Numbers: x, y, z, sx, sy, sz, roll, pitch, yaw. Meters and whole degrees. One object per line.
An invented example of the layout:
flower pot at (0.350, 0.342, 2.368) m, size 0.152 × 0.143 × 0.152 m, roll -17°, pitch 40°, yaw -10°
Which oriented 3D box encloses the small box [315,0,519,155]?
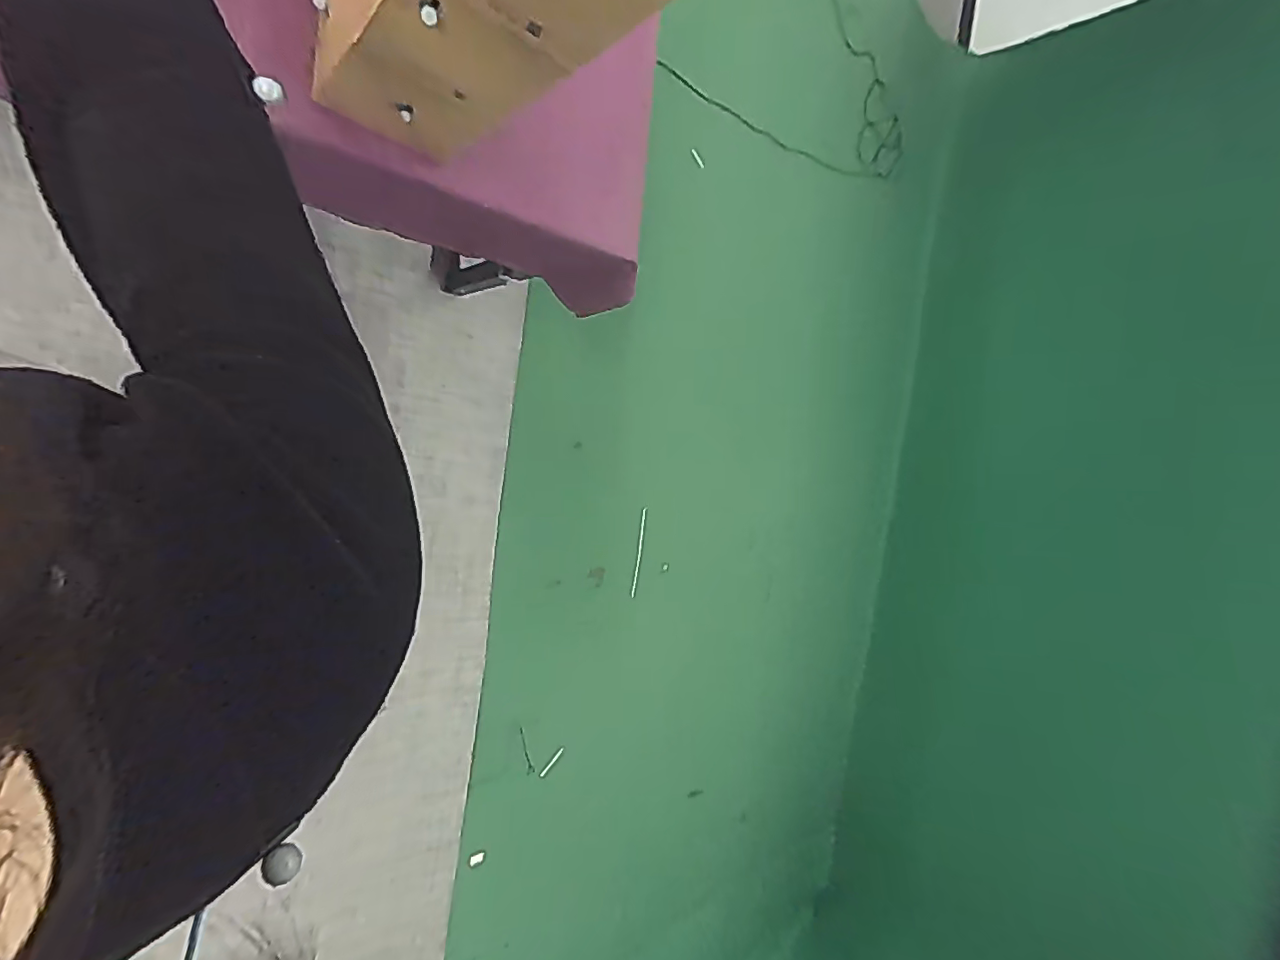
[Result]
small box at (-0.267, -0.525, 0.653) m, size 0.179 × 0.176 × 0.168 m, roll 4°, pitch 95°, yaw -43°
